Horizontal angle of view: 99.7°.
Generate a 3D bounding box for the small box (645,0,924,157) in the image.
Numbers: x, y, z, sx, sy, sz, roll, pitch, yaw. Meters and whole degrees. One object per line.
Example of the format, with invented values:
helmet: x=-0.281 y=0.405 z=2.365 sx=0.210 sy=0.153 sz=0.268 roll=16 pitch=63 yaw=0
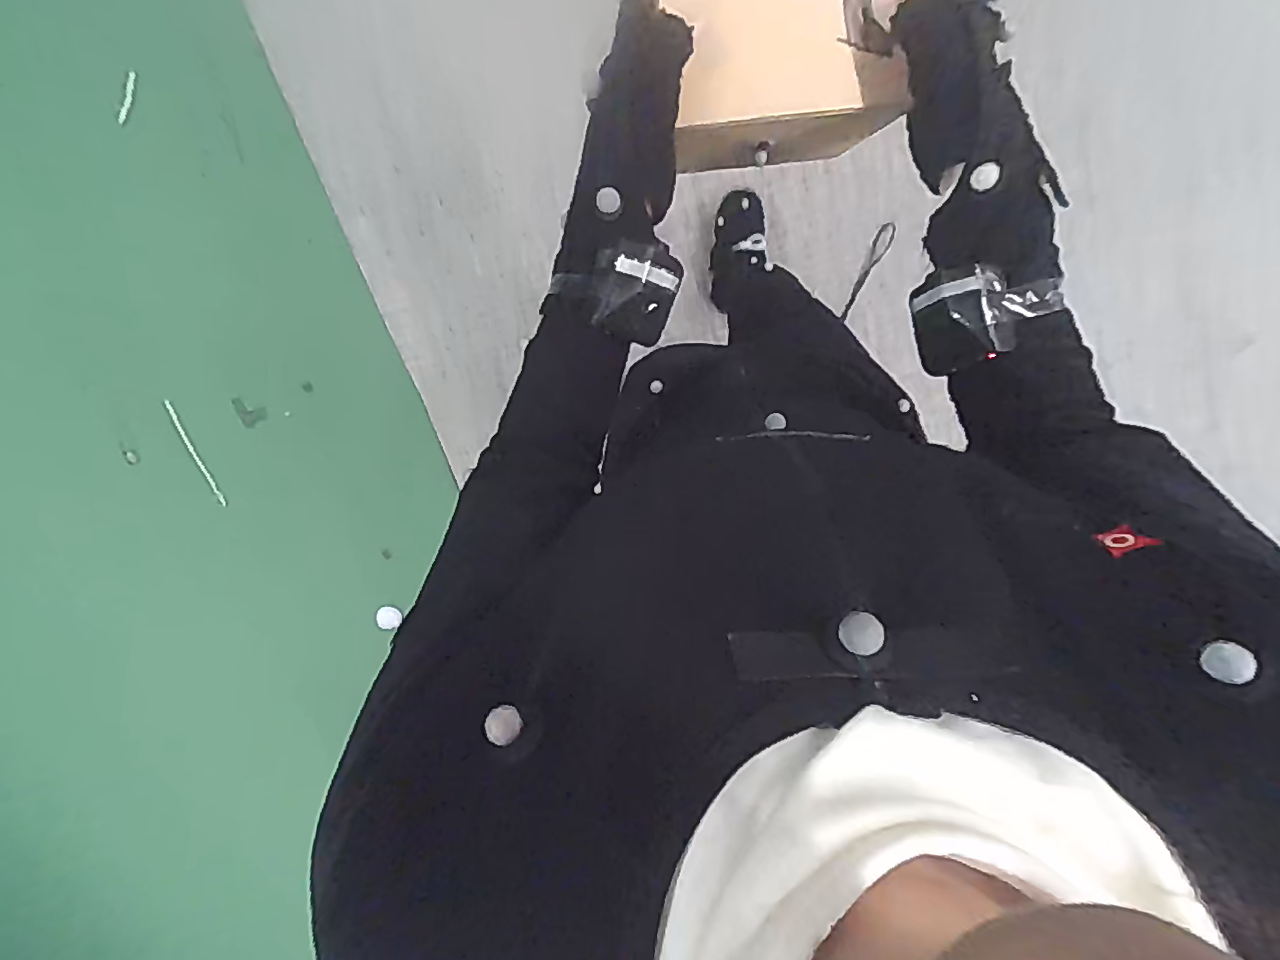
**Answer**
small box: x=0.095 y=-0.361 z=0.415 sx=0.179 sy=0.176 sz=0.168 roll=-2 pitch=108 yaw=0
